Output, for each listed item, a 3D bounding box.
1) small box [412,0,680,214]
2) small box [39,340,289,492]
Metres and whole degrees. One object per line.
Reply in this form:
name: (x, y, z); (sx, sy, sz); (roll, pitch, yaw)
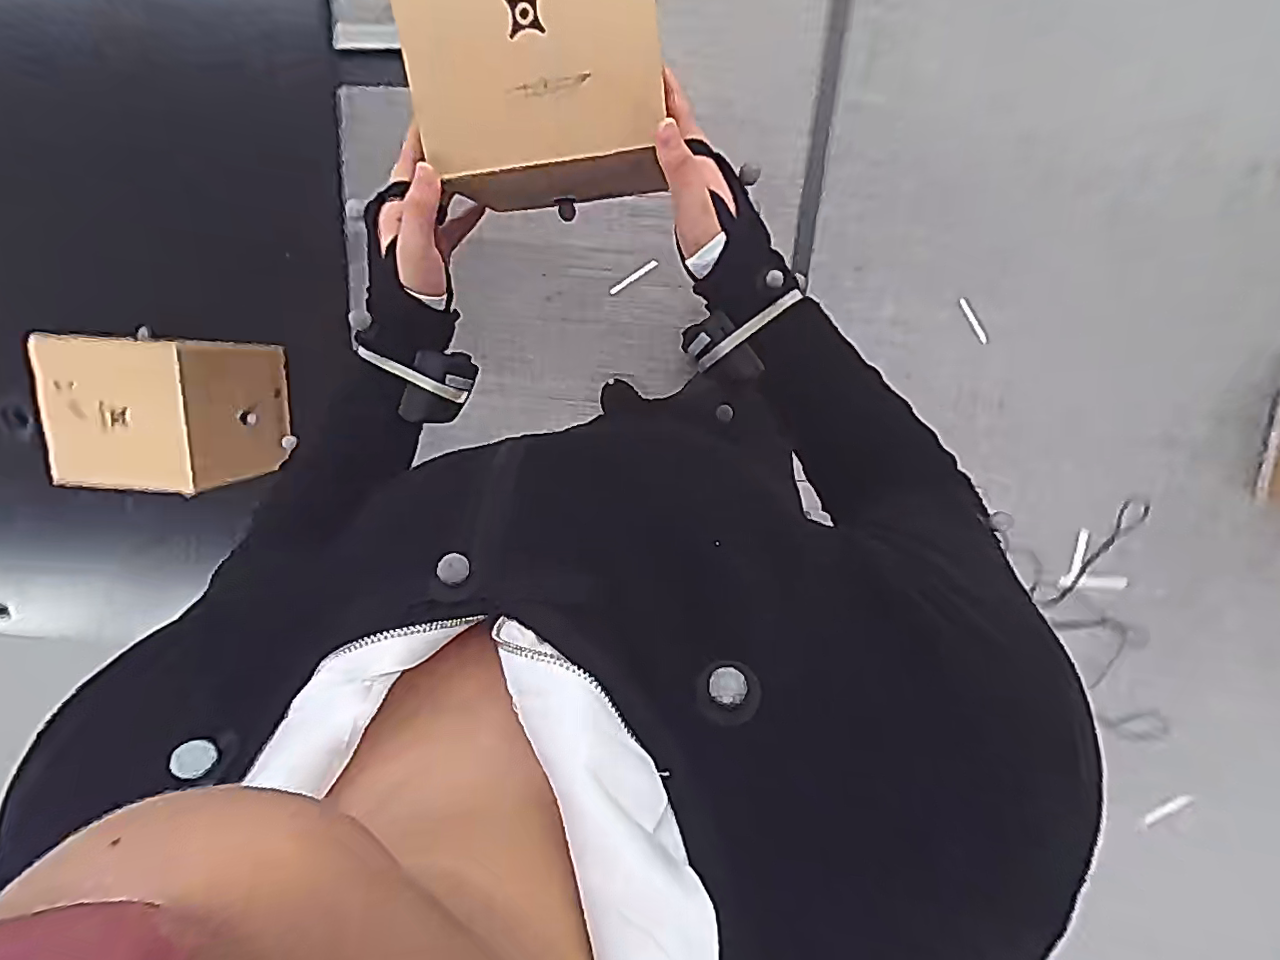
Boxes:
small box: (-0.058, -0.320, 0.417); (0.168, 0.176, 0.179); (-4, 109, 5)
small box: (-0.585, -0.089, 0.694); (0.179, 0.176, 0.168); (4, 102, 3)
